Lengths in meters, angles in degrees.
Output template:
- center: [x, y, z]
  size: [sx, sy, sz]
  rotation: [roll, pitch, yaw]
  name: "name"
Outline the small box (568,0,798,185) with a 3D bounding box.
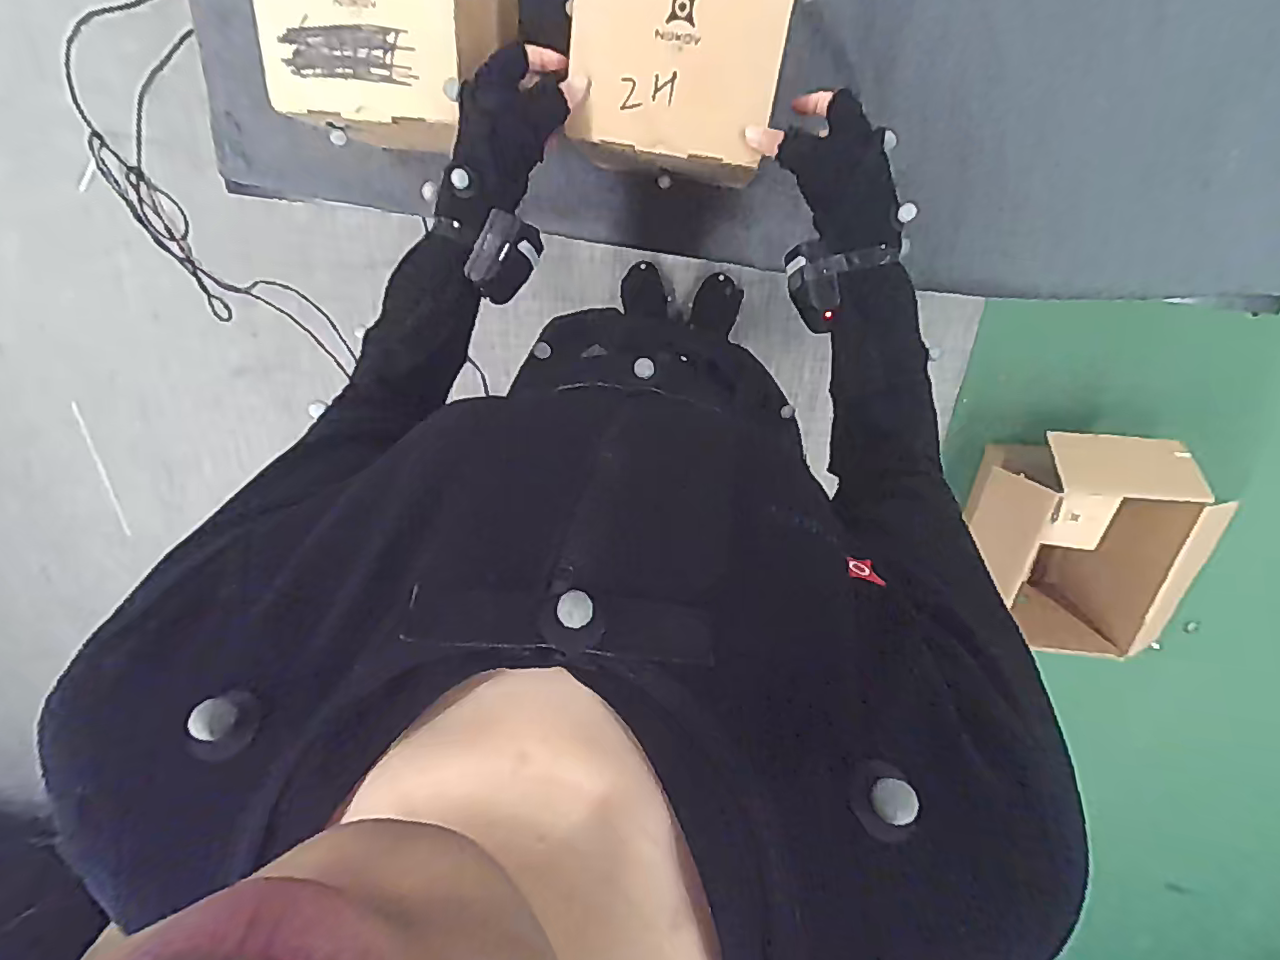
- center: [0.039, -0.381, 0.483]
  size: [0.168, 0.176, 0.179]
  rotation: [10, 115, 1]
  name: "small box"
